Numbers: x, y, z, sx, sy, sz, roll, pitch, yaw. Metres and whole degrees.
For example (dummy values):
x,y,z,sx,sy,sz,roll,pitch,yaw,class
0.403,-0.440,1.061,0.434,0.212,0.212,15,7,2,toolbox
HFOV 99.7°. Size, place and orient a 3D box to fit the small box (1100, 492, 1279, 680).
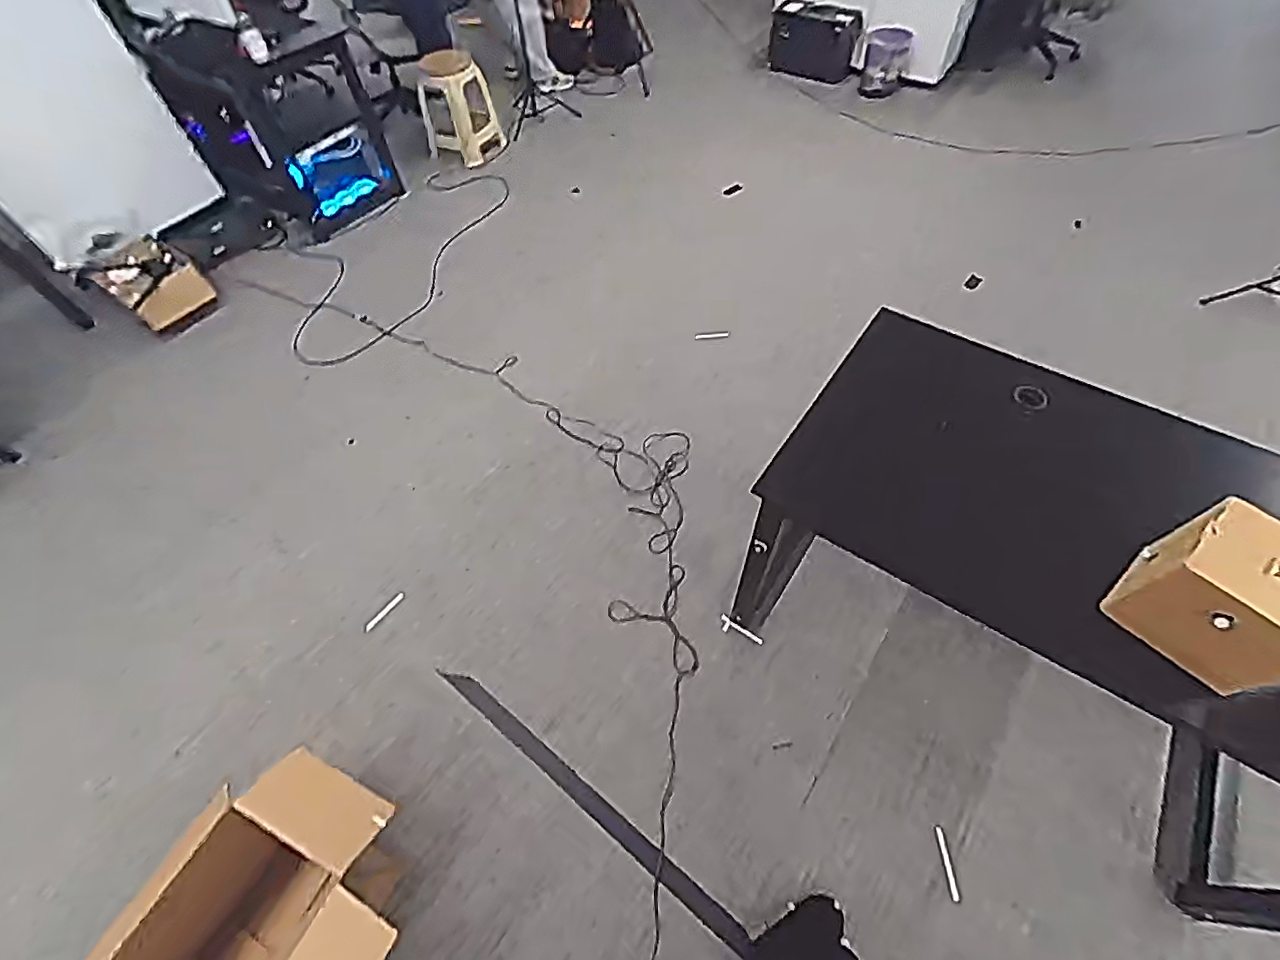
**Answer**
x,y,z,sx,sy,sz,roll,pitch,yaw,class
0.822,0.157,0.761,0.168,0.176,0.179,-36,61,-20,small box
